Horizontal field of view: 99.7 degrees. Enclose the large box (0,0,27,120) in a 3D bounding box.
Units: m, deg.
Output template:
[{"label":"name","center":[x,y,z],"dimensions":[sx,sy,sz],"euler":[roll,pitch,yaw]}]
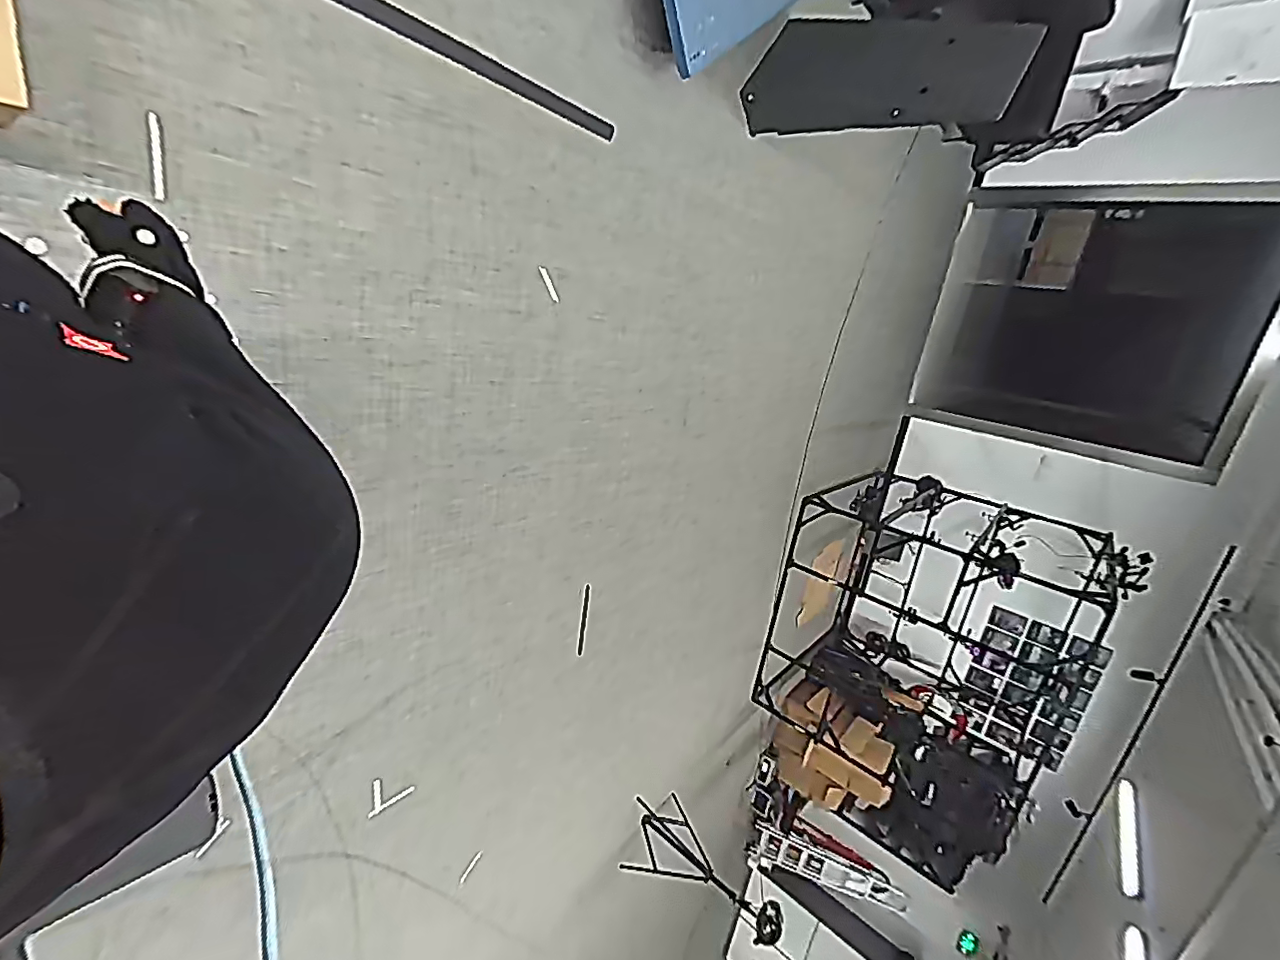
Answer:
[{"label":"large box","center":[-1.054,-0.662,0.621],"dimensions":[0.408,0.320,0.320],"euler":[-14,119,-51]}]
